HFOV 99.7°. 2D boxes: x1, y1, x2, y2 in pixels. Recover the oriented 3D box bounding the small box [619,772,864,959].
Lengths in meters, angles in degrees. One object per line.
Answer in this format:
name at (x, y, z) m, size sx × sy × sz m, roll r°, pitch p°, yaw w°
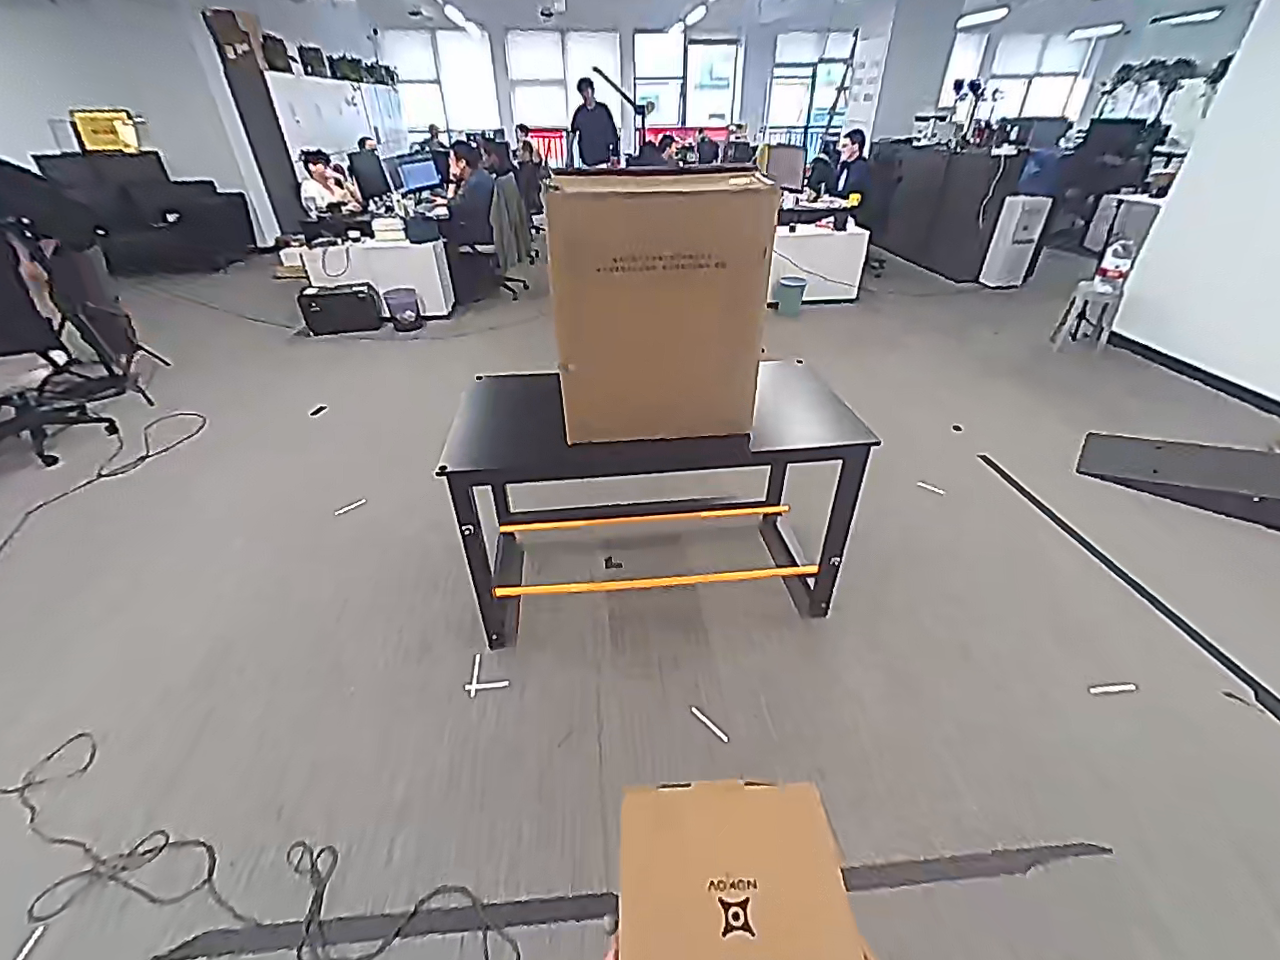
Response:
small box at (0.067, 0.365, 0.435) m, size 0.168 × 0.176 × 0.179 m, roll -1°, pitch 35°, yaw 0°
